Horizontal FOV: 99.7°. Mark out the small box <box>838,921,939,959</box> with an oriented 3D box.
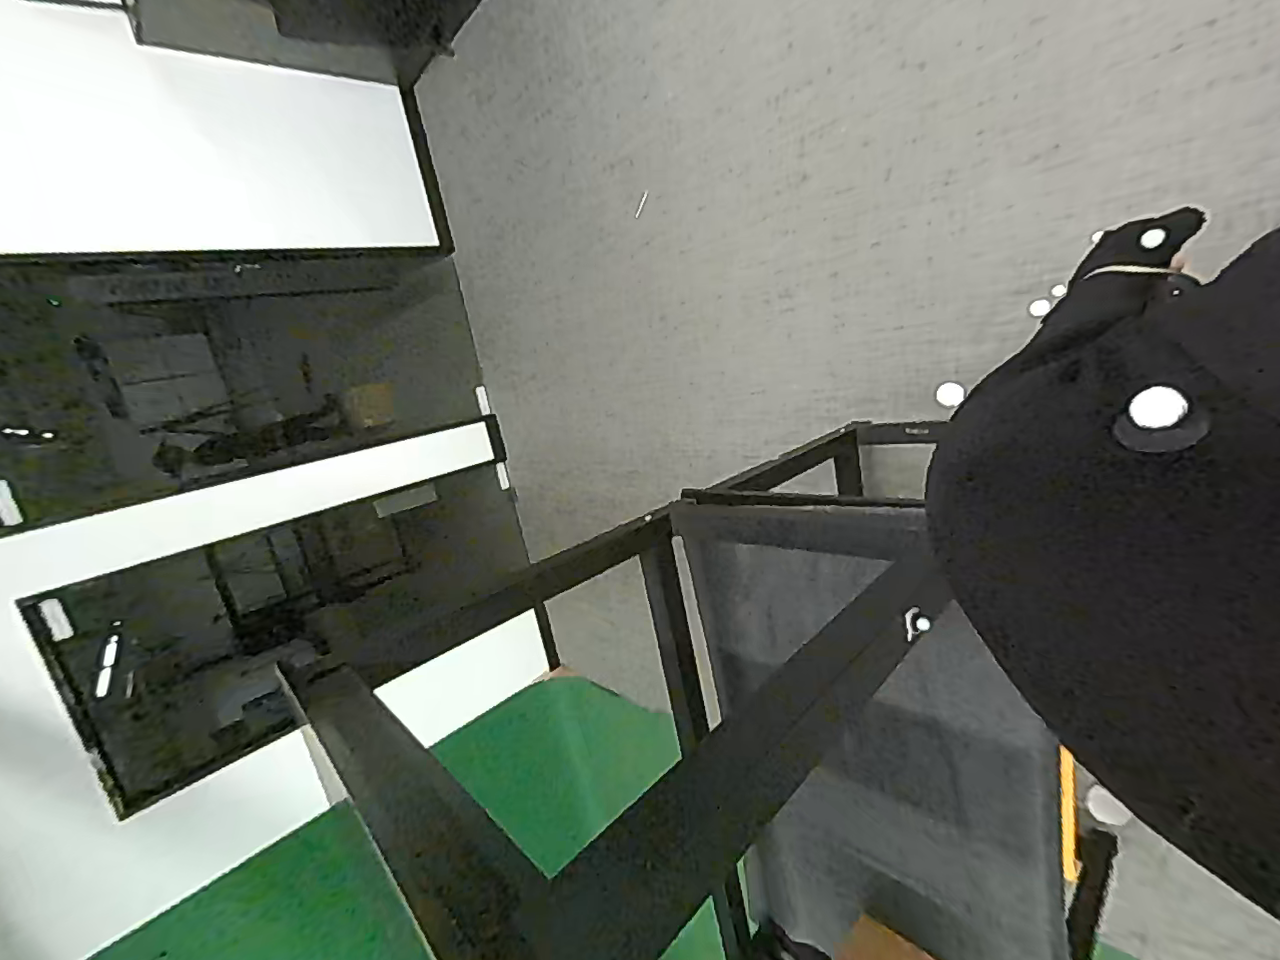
[{"bbox_3d":[0.466,0.966,0.986,0.179,0.176,0.168,3,109,50],"label":"small box"}]
